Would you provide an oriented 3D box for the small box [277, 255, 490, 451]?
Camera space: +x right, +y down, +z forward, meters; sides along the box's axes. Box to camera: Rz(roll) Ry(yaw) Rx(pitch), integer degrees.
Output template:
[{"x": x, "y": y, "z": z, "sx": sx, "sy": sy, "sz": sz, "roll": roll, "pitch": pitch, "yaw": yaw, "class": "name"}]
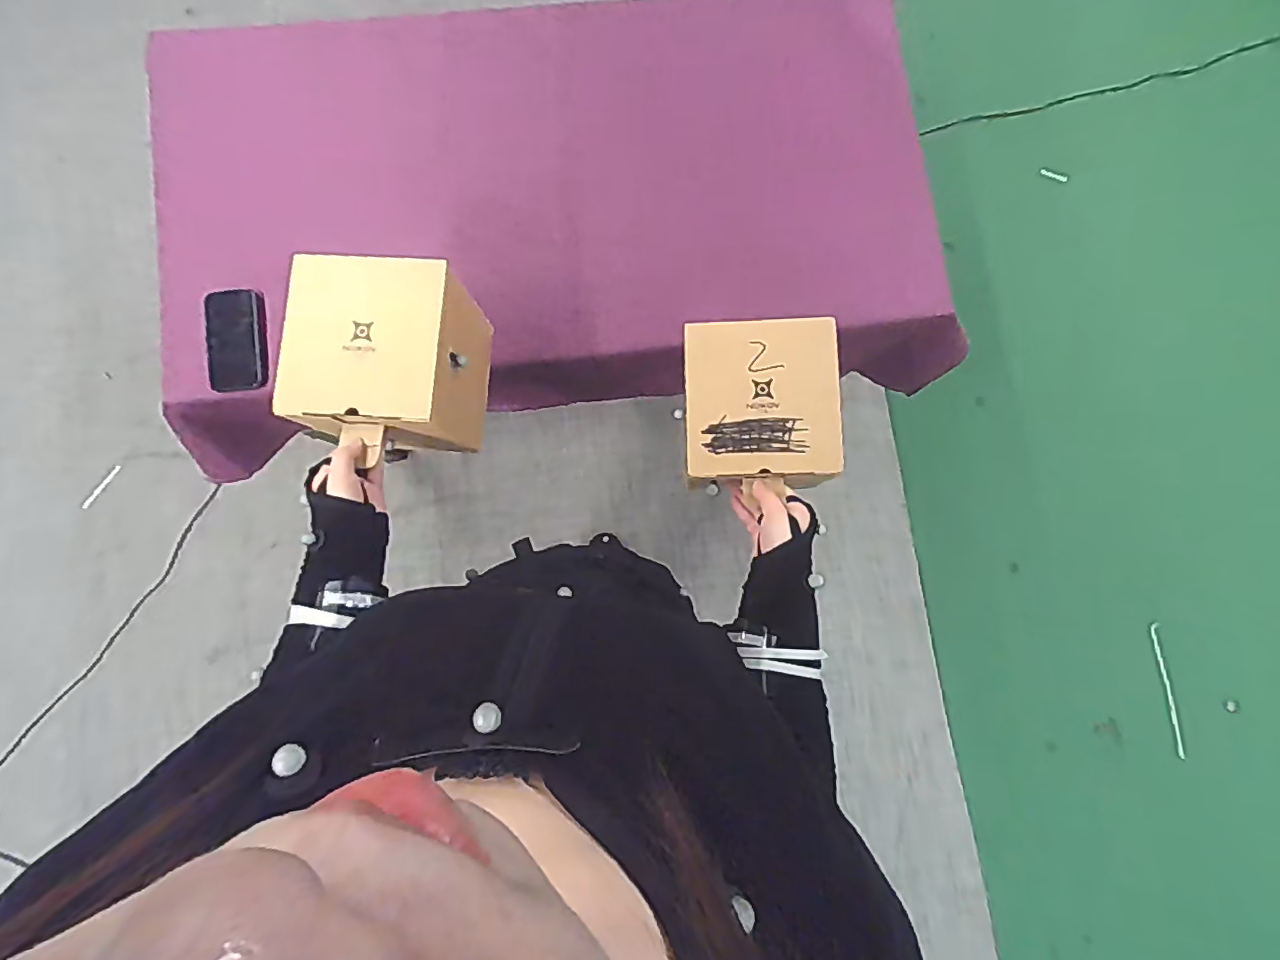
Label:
[{"x": -0.286, "y": -0.140, "z": 0.645, "sx": 0.168, "sy": 0.176, "sz": 0.179, "roll": 4, "pitch": 83, "yaw": 1, "class": "small box"}]
